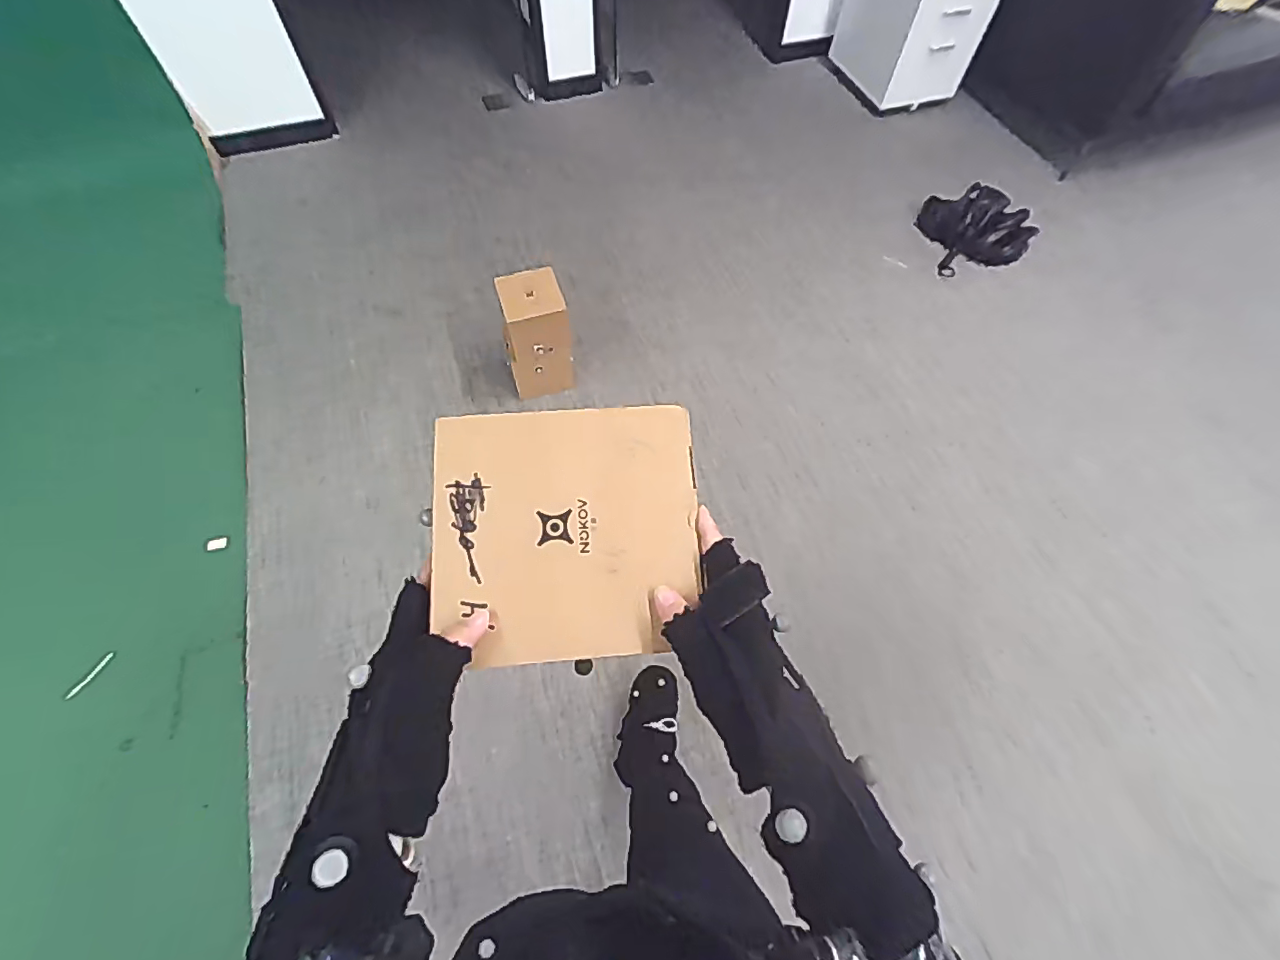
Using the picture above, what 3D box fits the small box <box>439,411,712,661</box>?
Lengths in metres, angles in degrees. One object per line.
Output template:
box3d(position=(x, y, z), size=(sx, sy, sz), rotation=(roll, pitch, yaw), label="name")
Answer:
box3d(position=(-0.051, 0.053, 0.441), size=(0.179, 0.176, 0.168), rotation=(-3, 73, -5), label="small box")

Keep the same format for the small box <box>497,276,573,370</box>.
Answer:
box3d(position=(-0.299, -0.448, 1.552), size=(0.168, 0.176, 0.179), rotation=(-17, 63, -9), label="small box")

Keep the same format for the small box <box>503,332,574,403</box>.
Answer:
box3d(position=(-0.313, -0.361, 1.688), size=(0.179, 0.176, 0.168), rotation=(-14, 62, -10), label="small box")
